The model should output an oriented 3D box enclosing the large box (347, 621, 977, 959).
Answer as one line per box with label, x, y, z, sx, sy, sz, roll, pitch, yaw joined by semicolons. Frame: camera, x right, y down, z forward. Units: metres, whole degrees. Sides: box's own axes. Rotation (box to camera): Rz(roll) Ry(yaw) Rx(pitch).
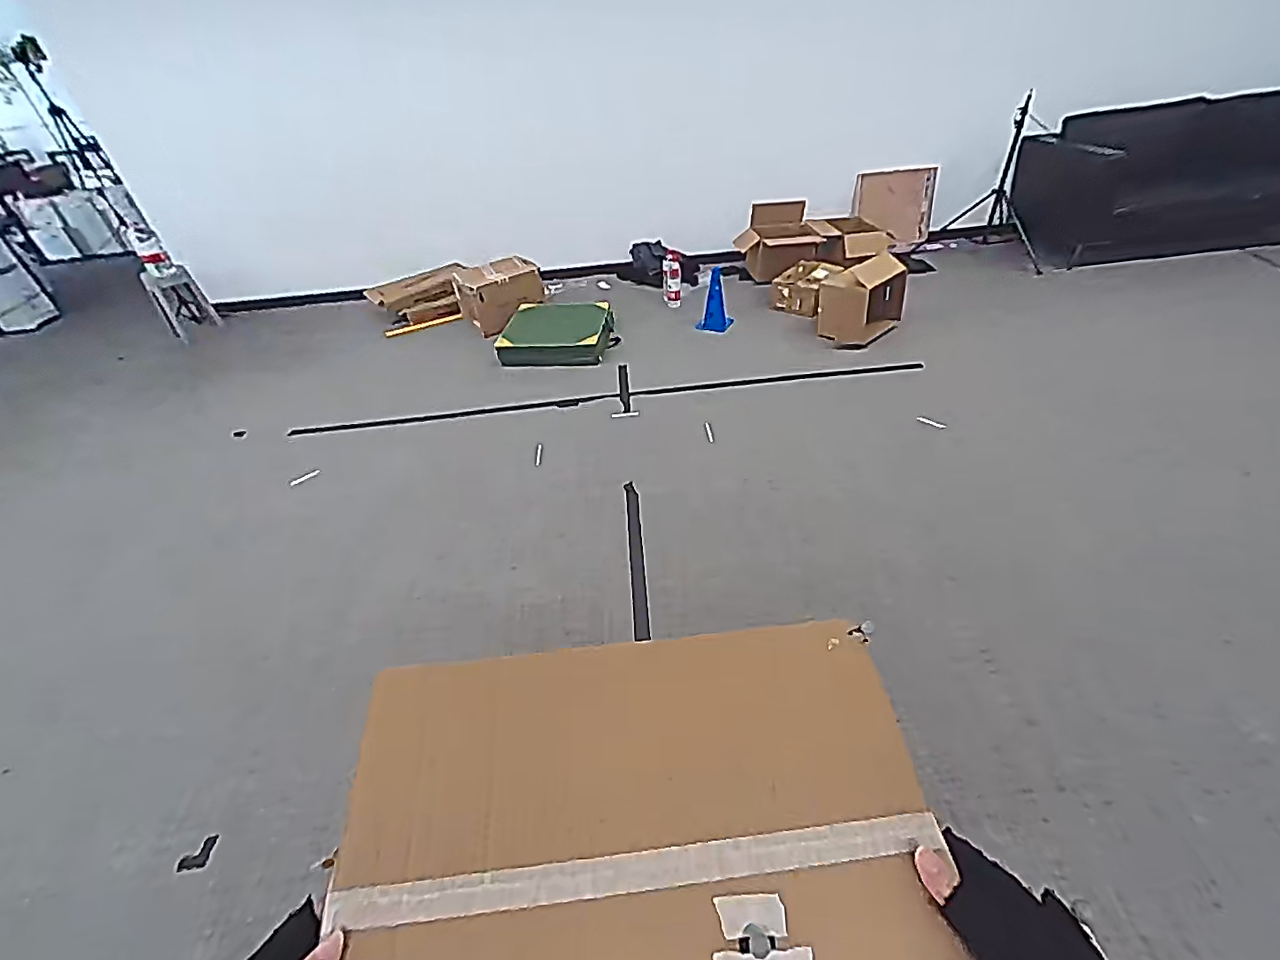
large box;0.008;0.358;0.489;0.408;0.320;0.320;-5;50;-3
